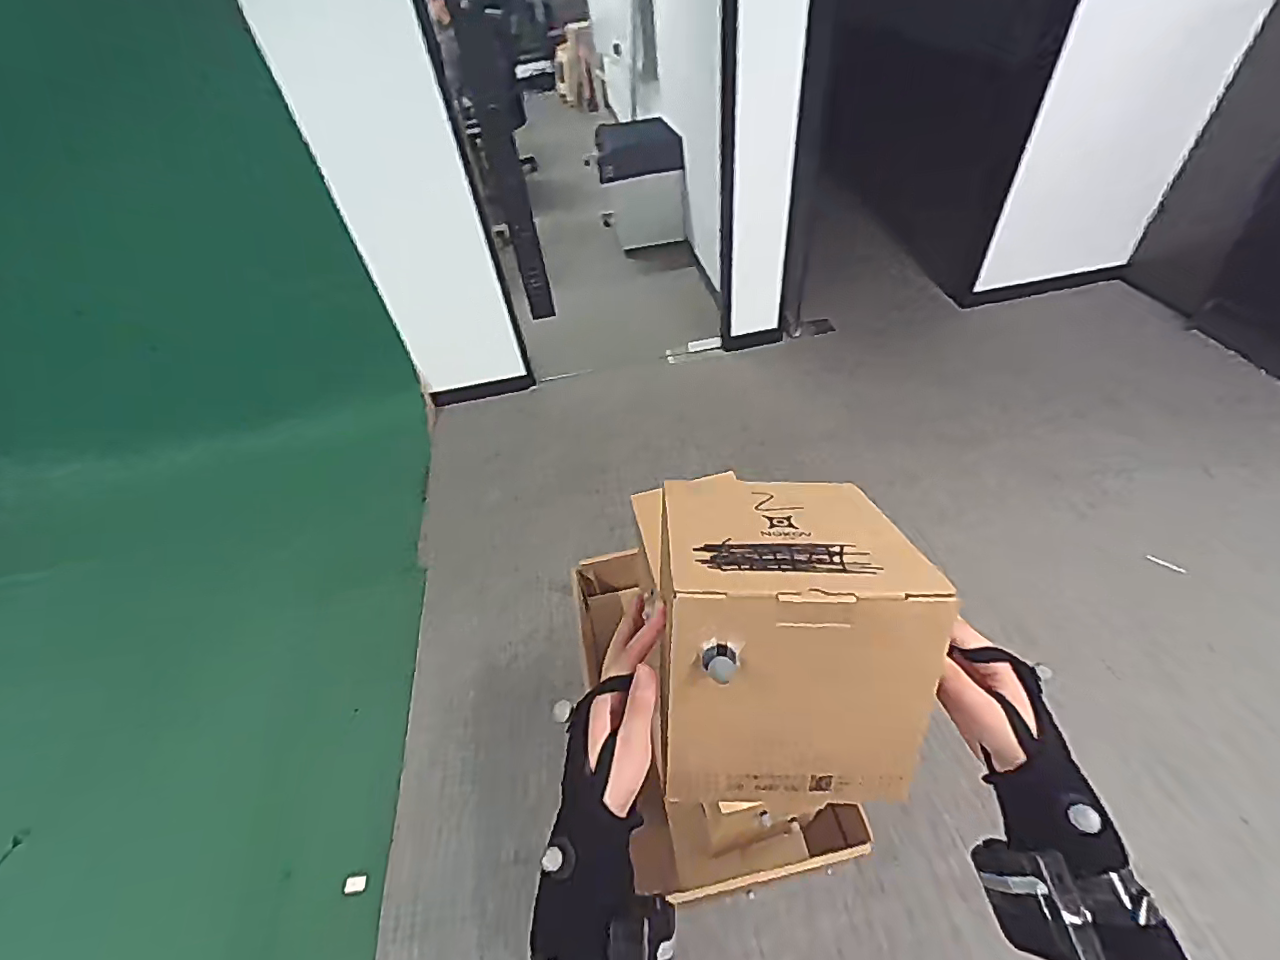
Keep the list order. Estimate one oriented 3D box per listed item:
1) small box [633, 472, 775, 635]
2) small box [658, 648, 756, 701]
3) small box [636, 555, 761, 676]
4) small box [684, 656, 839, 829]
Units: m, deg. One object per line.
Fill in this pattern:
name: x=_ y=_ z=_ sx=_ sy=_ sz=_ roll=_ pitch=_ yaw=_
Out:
small box: x=0.092 y=0.120 z=0.827 sx=0.168 sy=0.176 sz=0.179 roll=-12 pitch=50 yaw=-5
small box: x=0.119 y=0.324 z=1.081 sx=0.168 sy=0.176 sz=0.179 roll=-14 pitch=51 yaw=-6
small box: x=0.099 y=0.226 z=0.951 sx=0.168 sy=0.176 sz=0.179 roll=-15 pitch=50 yaw=-6
small box: x=0.168 y=0.389 z=0.792 sx=0.168 sy=0.176 sz=0.179 roll=-12 pitch=47 yaw=-4
